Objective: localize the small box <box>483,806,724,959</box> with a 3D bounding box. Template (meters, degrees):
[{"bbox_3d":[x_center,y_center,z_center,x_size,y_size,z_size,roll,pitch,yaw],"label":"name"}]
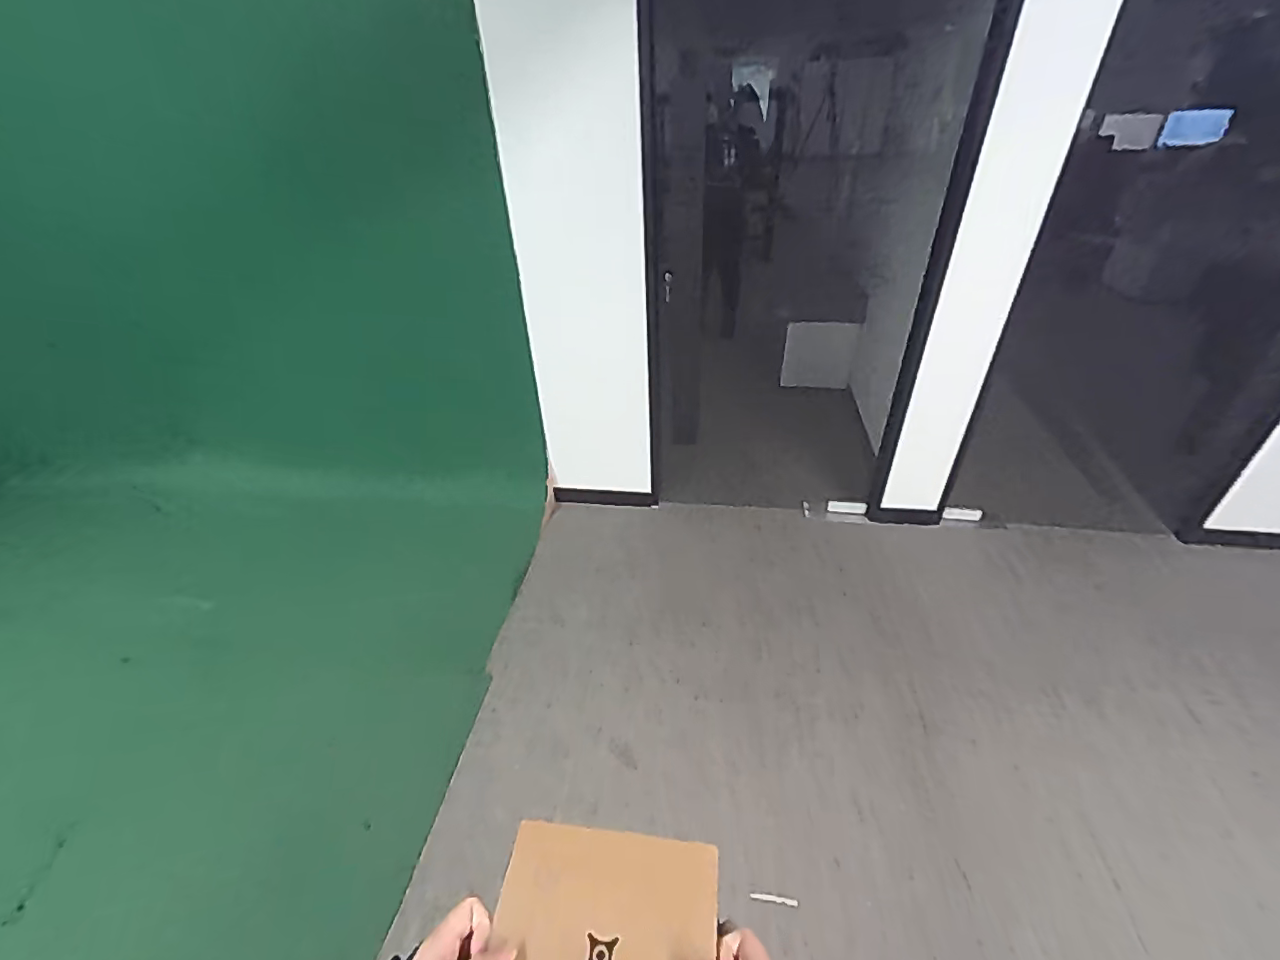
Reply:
[{"bbox_3d":[-0.022,0.391,0.421,0.168,0.176,0.179,1,38,8],"label":"small box"}]
